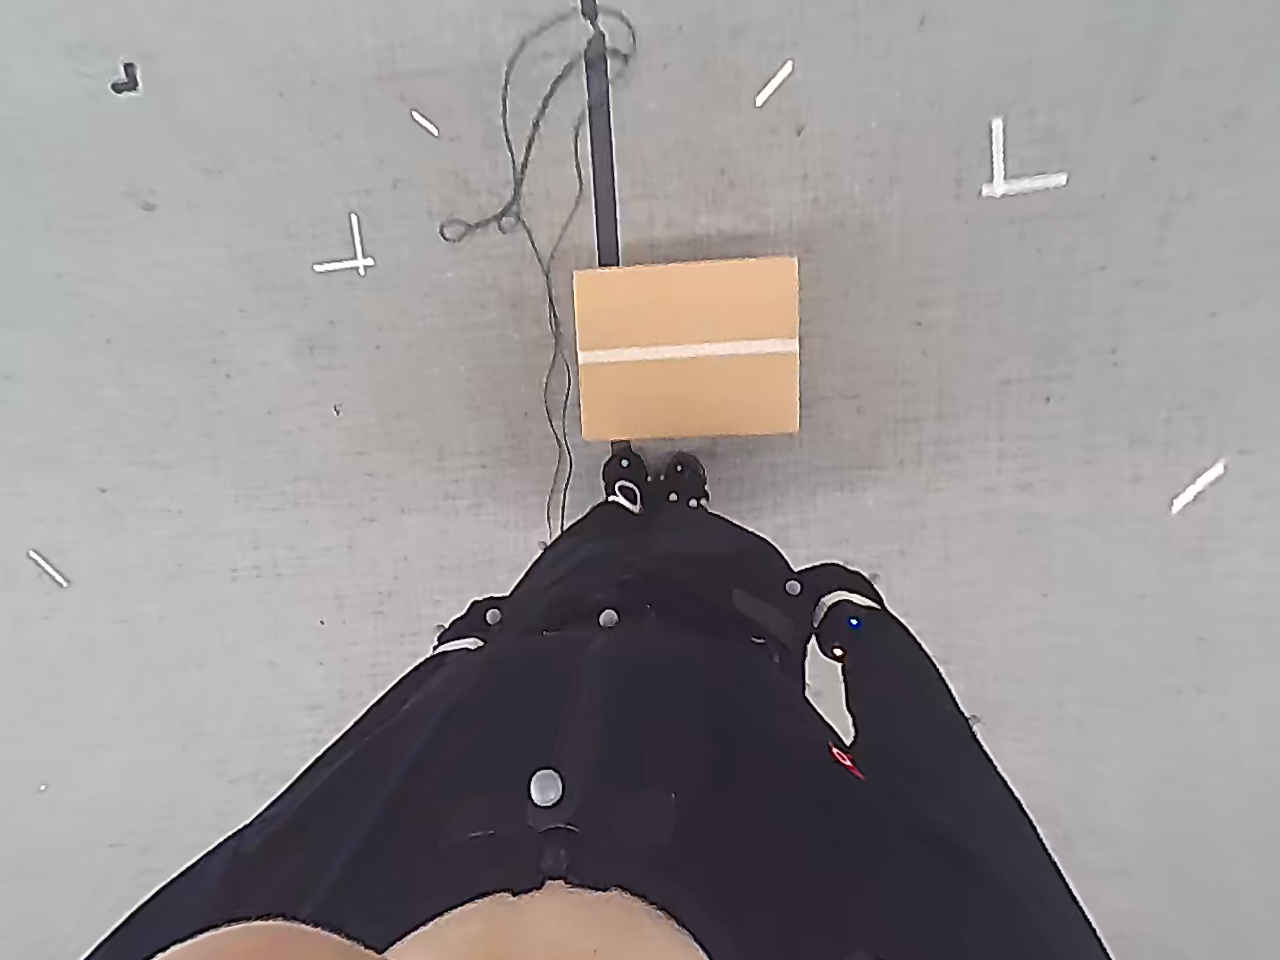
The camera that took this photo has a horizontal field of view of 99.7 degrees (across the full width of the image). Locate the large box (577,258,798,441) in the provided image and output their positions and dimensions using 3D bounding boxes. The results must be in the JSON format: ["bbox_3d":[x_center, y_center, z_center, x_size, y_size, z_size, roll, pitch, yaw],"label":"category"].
[{"bbox_3d":[0.099,-0.257,1.147,0.408,0.320,0.320,-2,99,5],"label":"large box"}]
